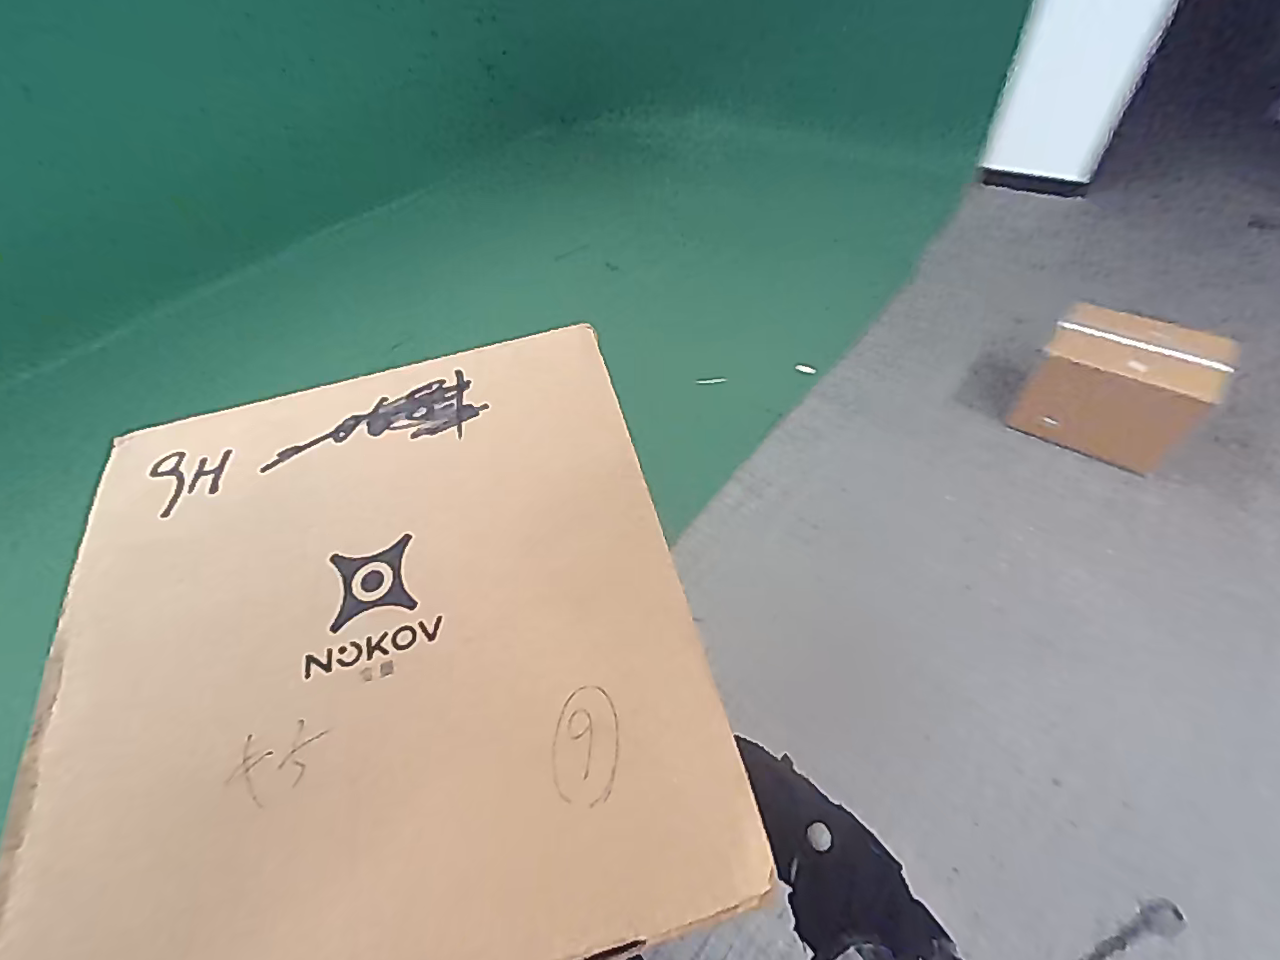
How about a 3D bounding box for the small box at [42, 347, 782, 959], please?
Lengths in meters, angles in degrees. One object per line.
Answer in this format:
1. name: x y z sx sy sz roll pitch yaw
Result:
1. small box: -0.061 0.081 0.221 0.168 0.176 0.179 -14 61 -5
